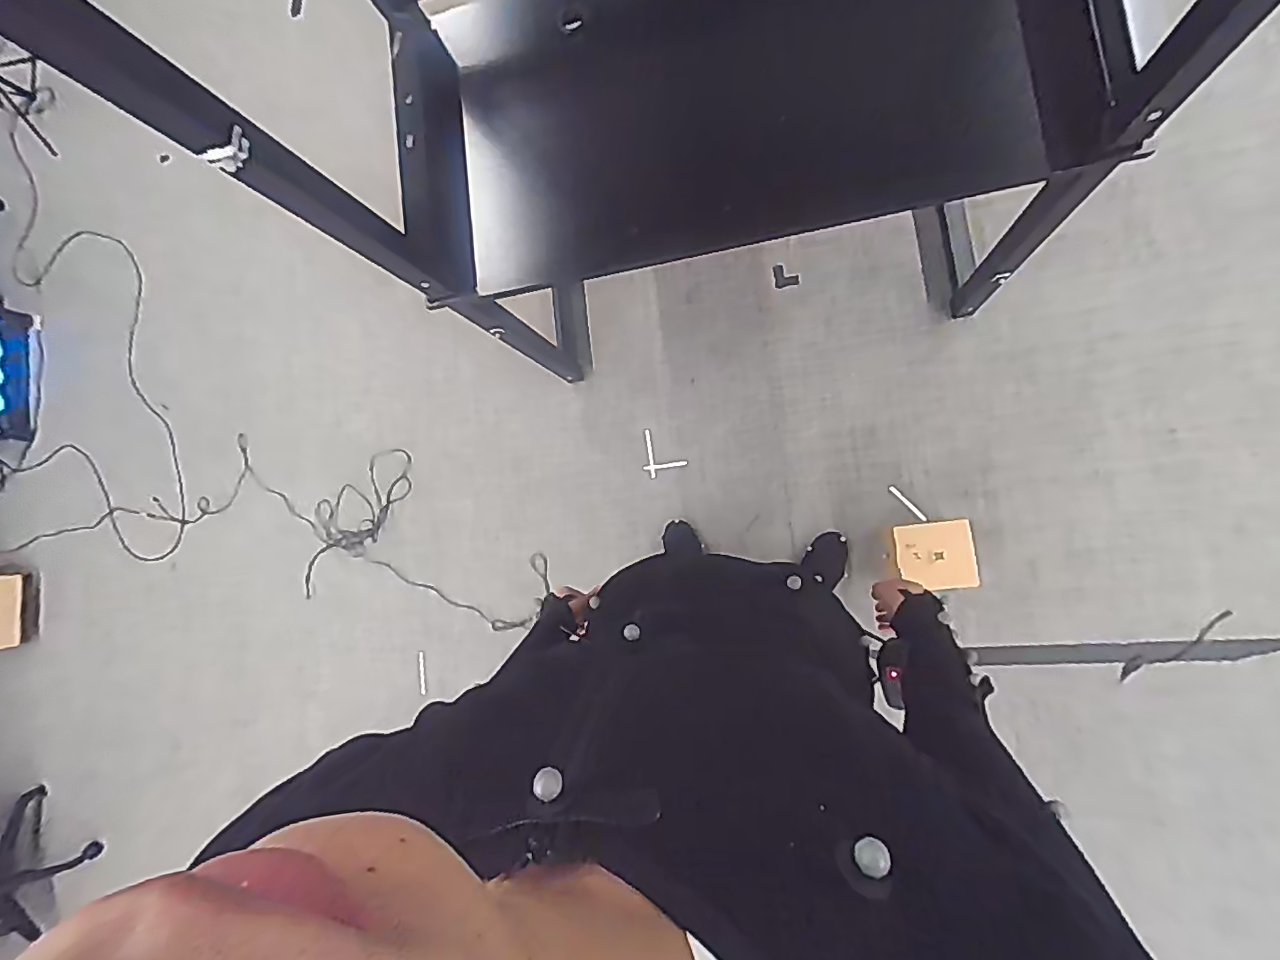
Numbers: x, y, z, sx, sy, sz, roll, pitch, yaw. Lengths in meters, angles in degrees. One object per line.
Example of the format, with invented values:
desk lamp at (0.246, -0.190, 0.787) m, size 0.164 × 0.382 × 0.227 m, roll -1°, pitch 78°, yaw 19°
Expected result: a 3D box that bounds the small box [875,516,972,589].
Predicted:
small box at (0.733, 0.186, 1.413) m, size 0.179 × 0.176 × 0.168 m, roll -8°, pitch 85°, yaw 14°
